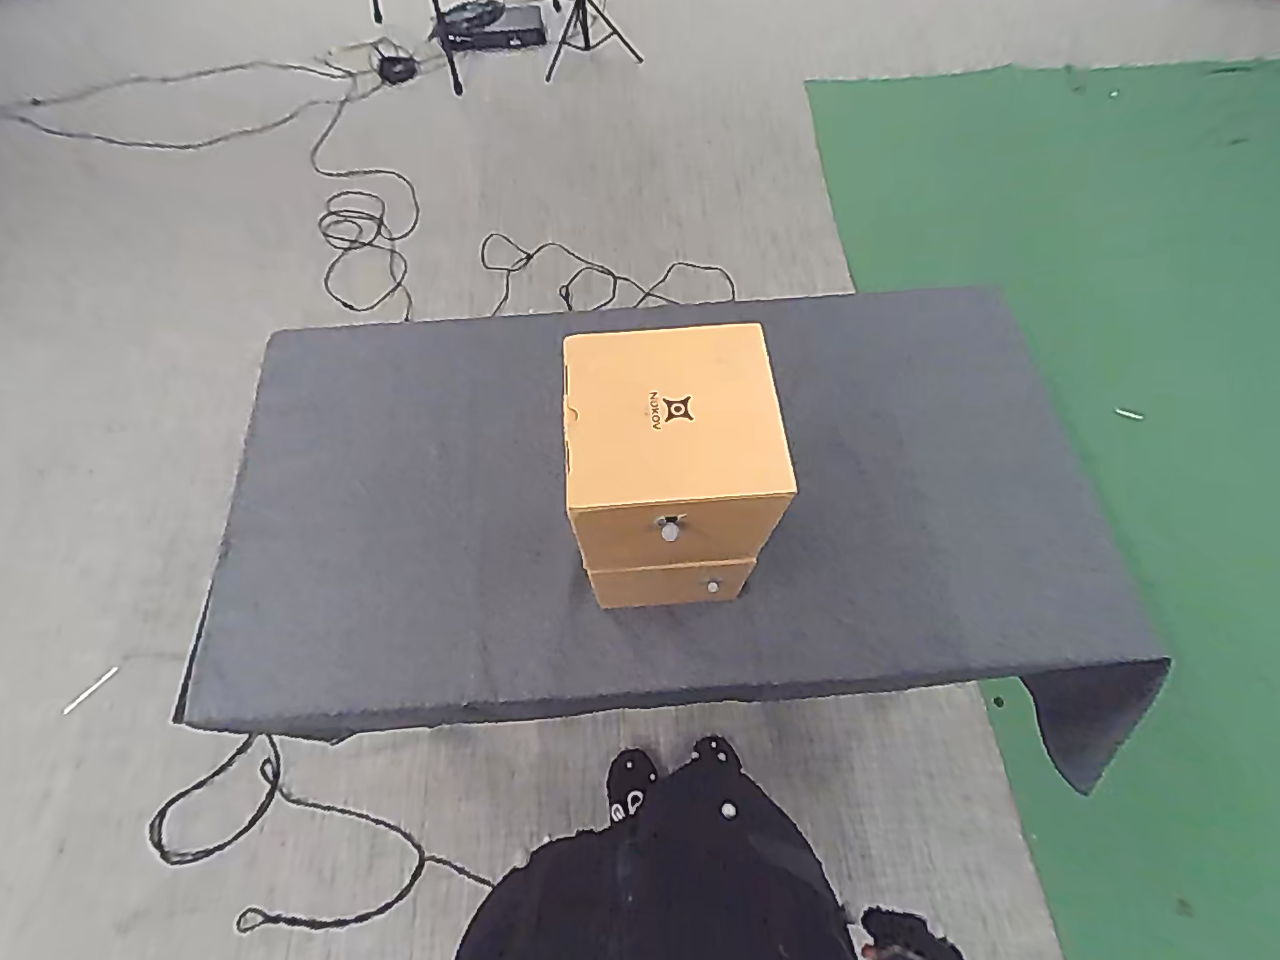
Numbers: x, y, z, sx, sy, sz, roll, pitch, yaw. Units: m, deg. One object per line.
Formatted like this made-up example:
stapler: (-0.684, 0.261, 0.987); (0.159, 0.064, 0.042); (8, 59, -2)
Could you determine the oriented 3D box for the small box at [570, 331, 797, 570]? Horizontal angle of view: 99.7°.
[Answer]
small box: (0.030, -0.019, 0.516); (0.179, 0.176, 0.168); (-4, 64, -1)
